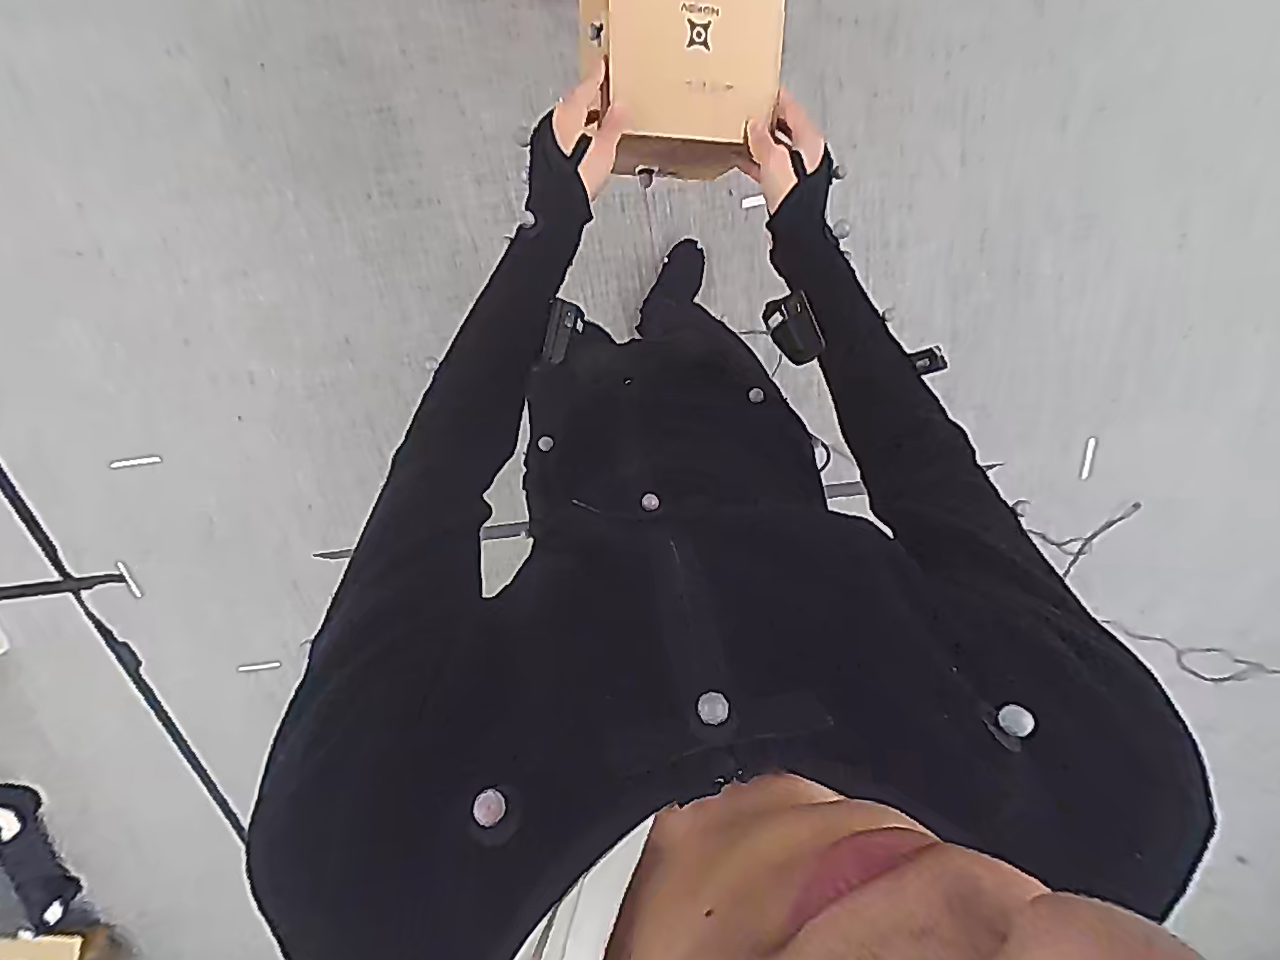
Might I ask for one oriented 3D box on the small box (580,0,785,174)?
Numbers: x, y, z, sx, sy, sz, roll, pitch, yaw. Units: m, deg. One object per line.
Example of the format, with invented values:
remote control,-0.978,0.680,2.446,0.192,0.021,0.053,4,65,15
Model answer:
small box,0.032,-0.435,0.552,0.168,0.176,0.179,-4,108,-13
